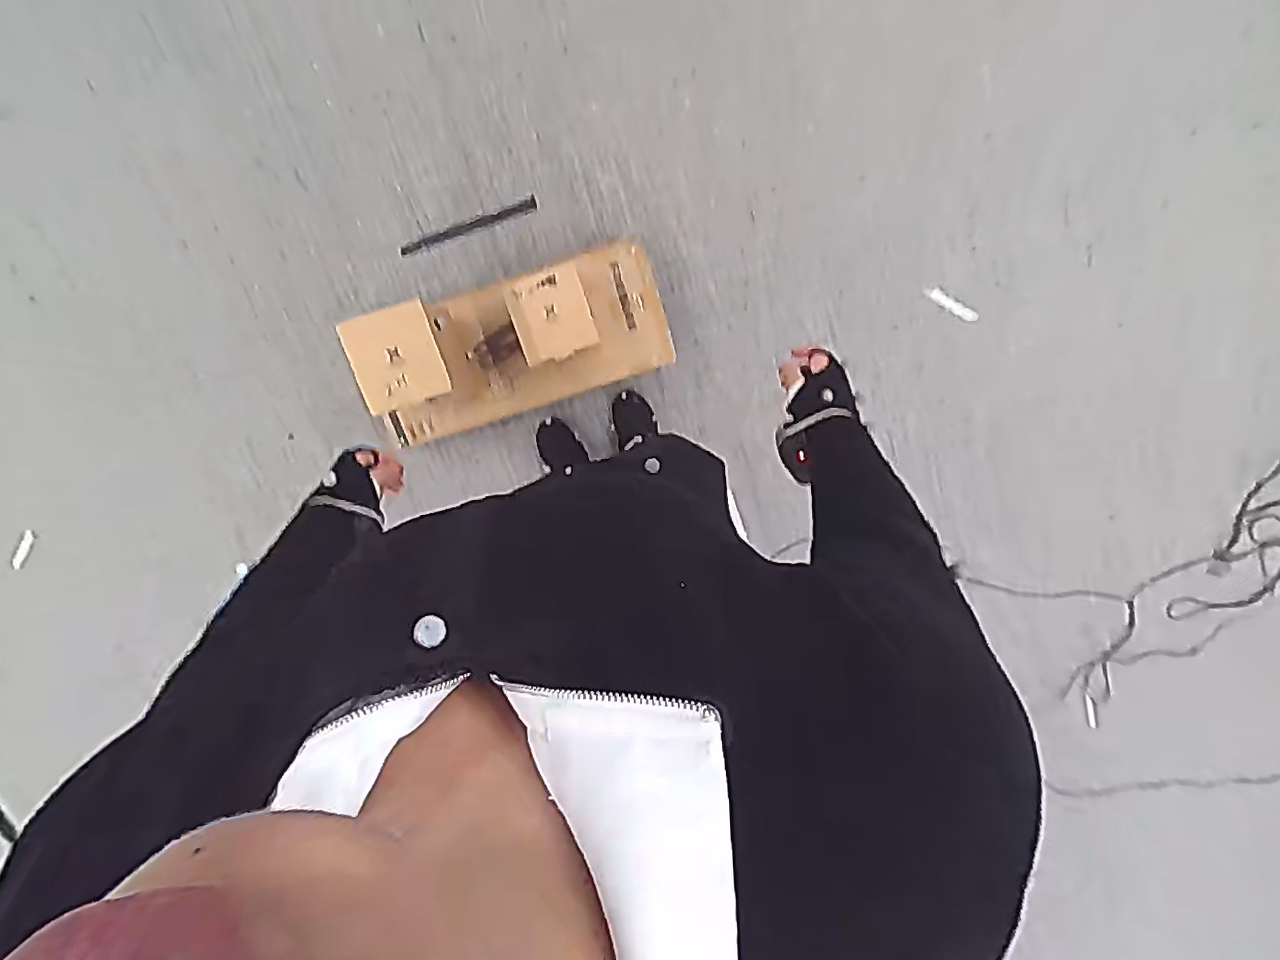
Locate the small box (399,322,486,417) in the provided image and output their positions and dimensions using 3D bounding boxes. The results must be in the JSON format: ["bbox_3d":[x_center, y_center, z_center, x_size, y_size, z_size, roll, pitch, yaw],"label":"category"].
[{"bbox_3d":[-0.475,-0.257,1.242,0.168,0.176,0.179,-19,102,2],"label":"small box"}]

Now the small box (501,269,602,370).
[{"bbox_3d":[-0.191,-0.360,1.230,0.168,0.176,0.179,-16,102,4],"label":"small box"}]

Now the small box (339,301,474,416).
[{"bbox_3d":[-0.454,-0.237,1.078,0.168,0.176,0.179,-17,101,2],"label":"small box"}]
